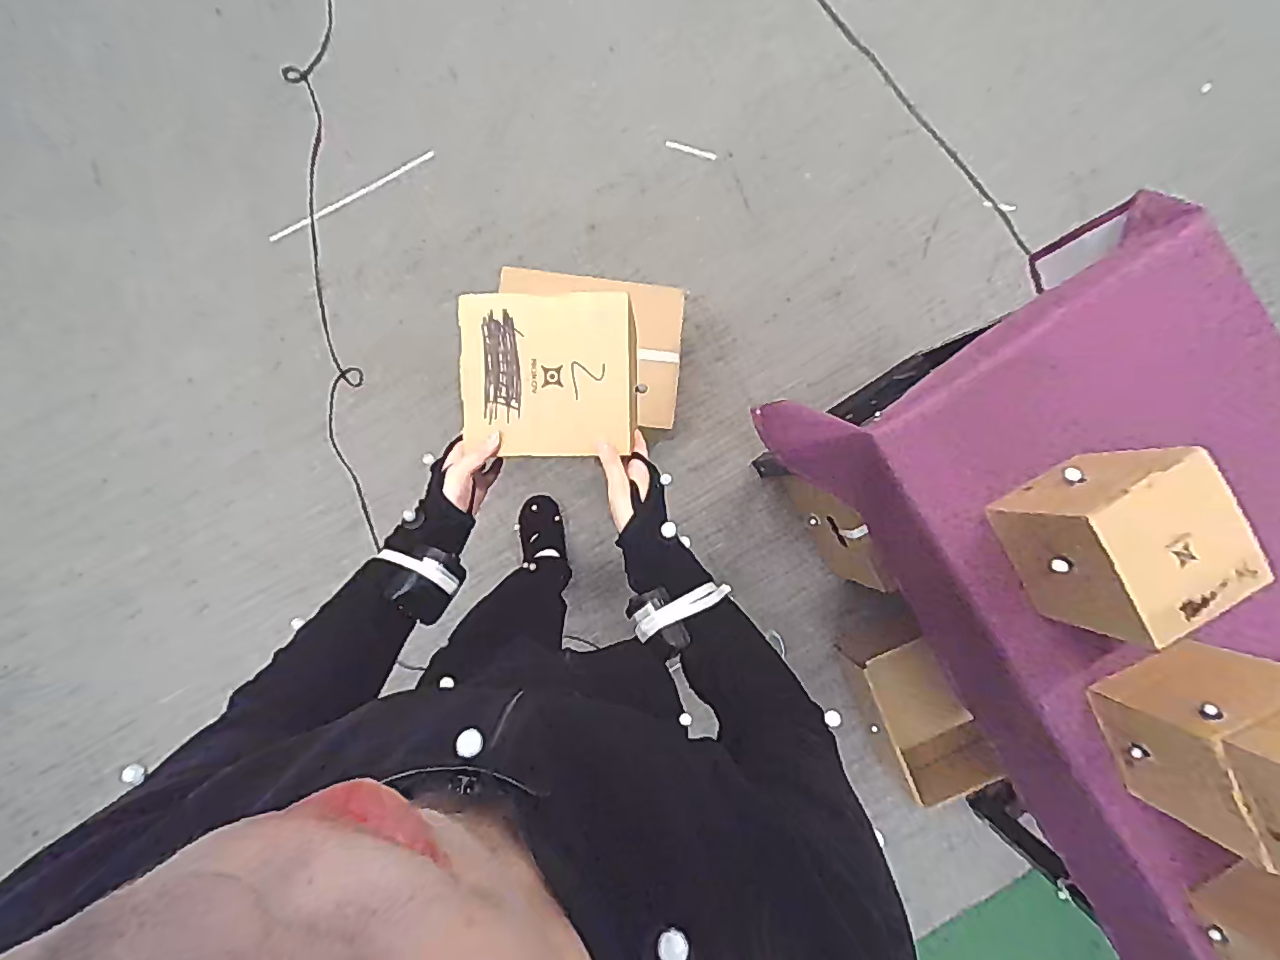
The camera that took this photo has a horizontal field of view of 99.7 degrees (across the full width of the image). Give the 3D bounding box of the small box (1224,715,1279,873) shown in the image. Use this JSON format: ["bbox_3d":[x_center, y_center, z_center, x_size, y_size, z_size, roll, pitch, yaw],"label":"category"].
[{"bbox_3d":[0.764,0.336,0.534,0.179,0.176,0.168,-23,91,-2],"label":"small box"}]

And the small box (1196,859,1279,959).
[{"bbox_3d":[0.894,0.624,0.703,0.179,0.176,0.168,-29,91,-4],"label":"small box"}]

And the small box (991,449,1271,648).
[{"bbox_3d":[0.600,0.079,0.688,0.168,0.176,0.179,-29,91,-2],"label":"small box"}]

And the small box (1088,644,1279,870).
[{"bbox_3d":[0.748,0.337,0.698,0.179,0.176,0.168,-24,91,-2],"label":"small box"}]

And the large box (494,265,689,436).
[{"bbox_3d":[-0.115,-0.289,1.311,0.408,0.320,0.320,6,90,-4],"label":"large box"}]
